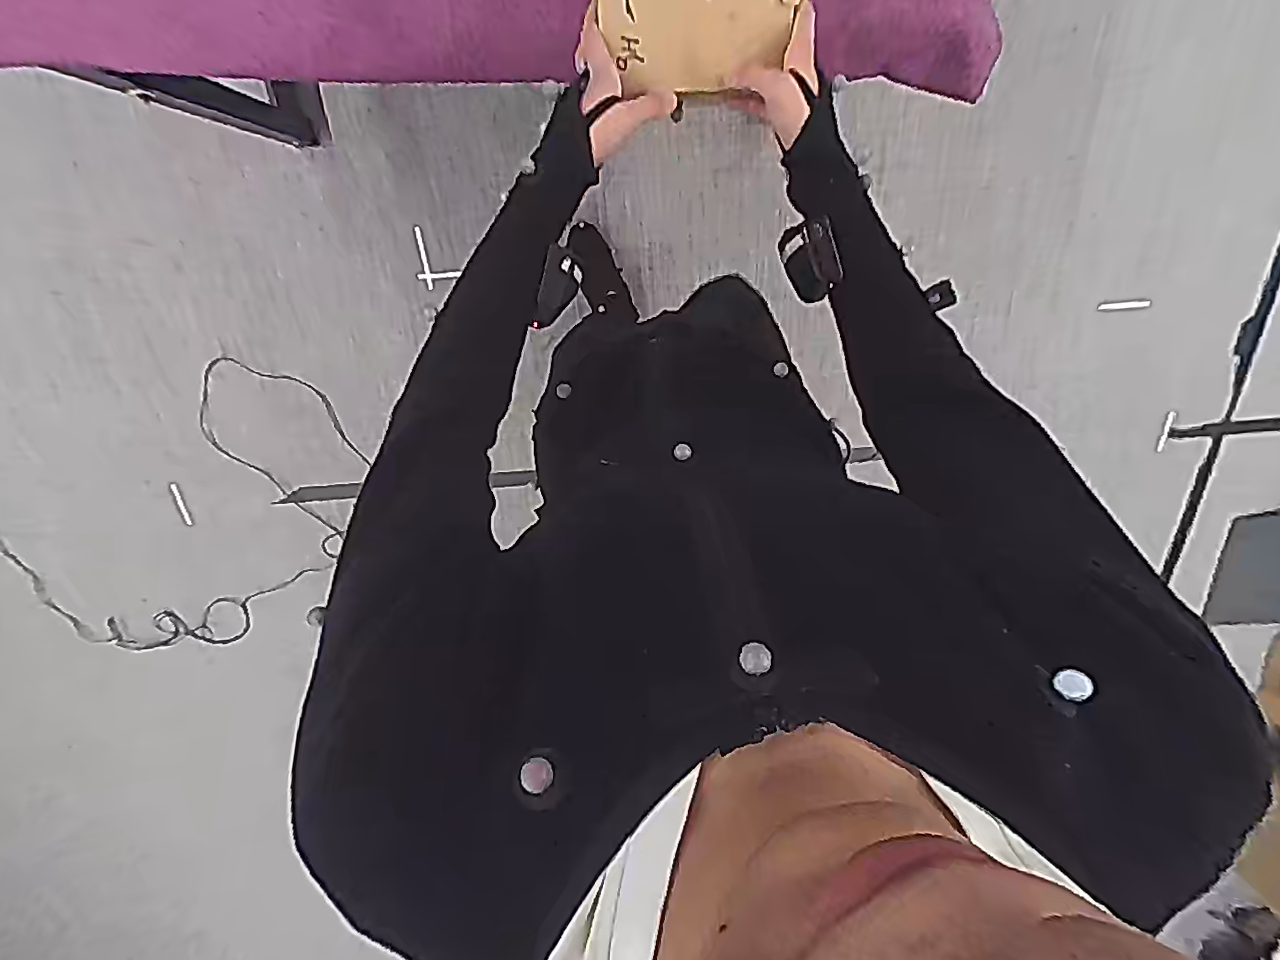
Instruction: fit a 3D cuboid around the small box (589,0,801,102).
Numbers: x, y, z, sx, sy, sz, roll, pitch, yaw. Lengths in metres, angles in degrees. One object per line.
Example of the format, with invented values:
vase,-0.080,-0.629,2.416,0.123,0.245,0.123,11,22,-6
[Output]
small box,0.042,-0.465,0.509,0.179,0.176,0.168,-3,120,-4
